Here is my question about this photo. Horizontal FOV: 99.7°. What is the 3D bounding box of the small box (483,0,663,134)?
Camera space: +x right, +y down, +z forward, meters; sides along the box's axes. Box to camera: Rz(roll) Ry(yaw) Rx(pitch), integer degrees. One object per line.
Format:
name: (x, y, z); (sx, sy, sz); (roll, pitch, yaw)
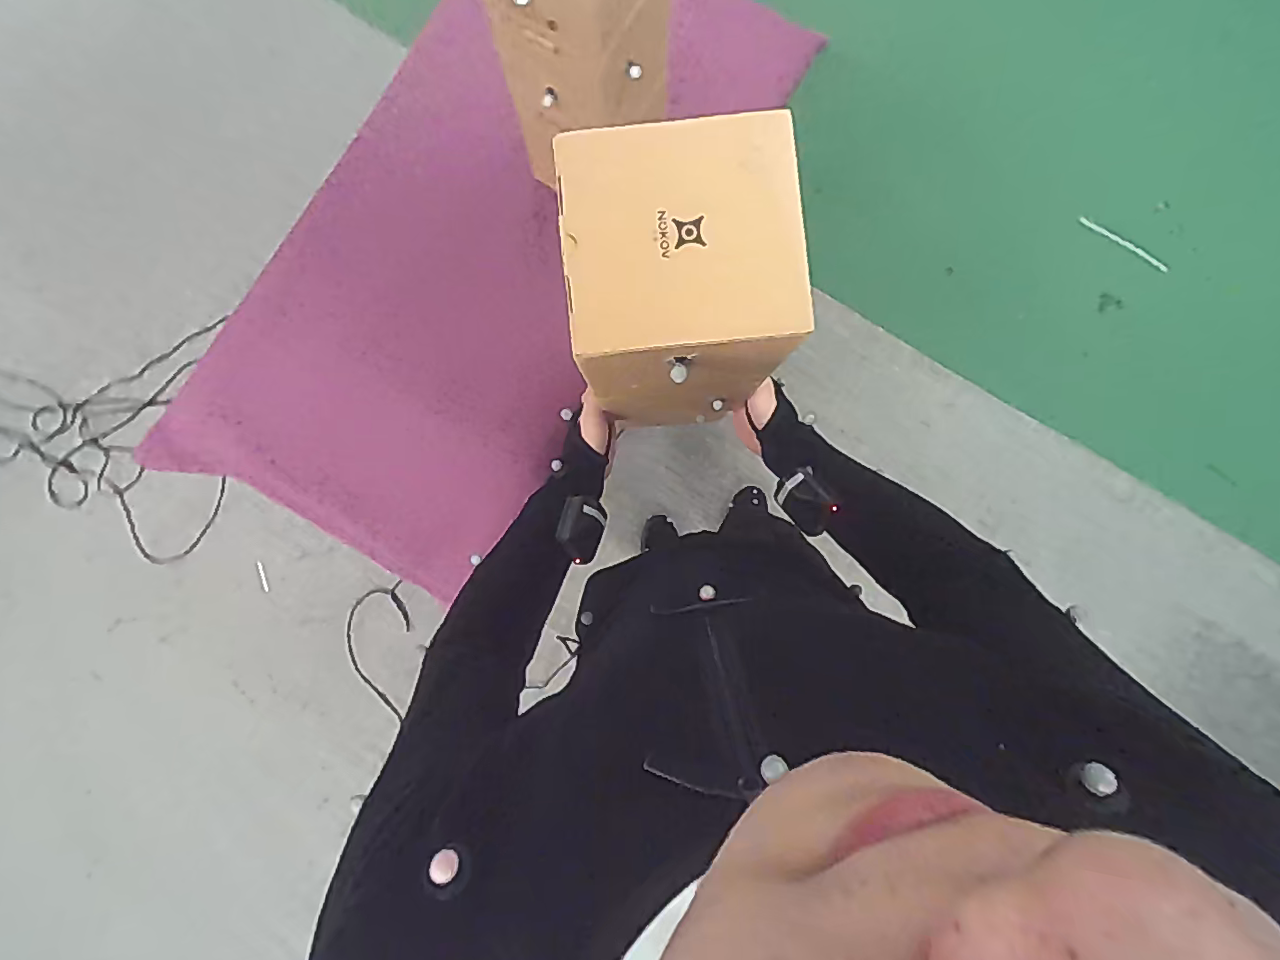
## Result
small box: (-0.074, -0.595, 0.723); (0.168, 0.176, 0.179); (31, 87, 1)

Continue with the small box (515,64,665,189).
small box: (-0.073, -0.582, 0.885); (0.168, 0.176, 0.179); (33, 86, 2)

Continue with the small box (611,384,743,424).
small box: (0.047, -0.177, 0.793); (0.179, 0.176, 0.168); (-4, 88, 2)

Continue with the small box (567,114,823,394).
small box: (0.040, -0.173, 0.466); (0.179, 0.176, 0.168); (-5, 89, 2)
